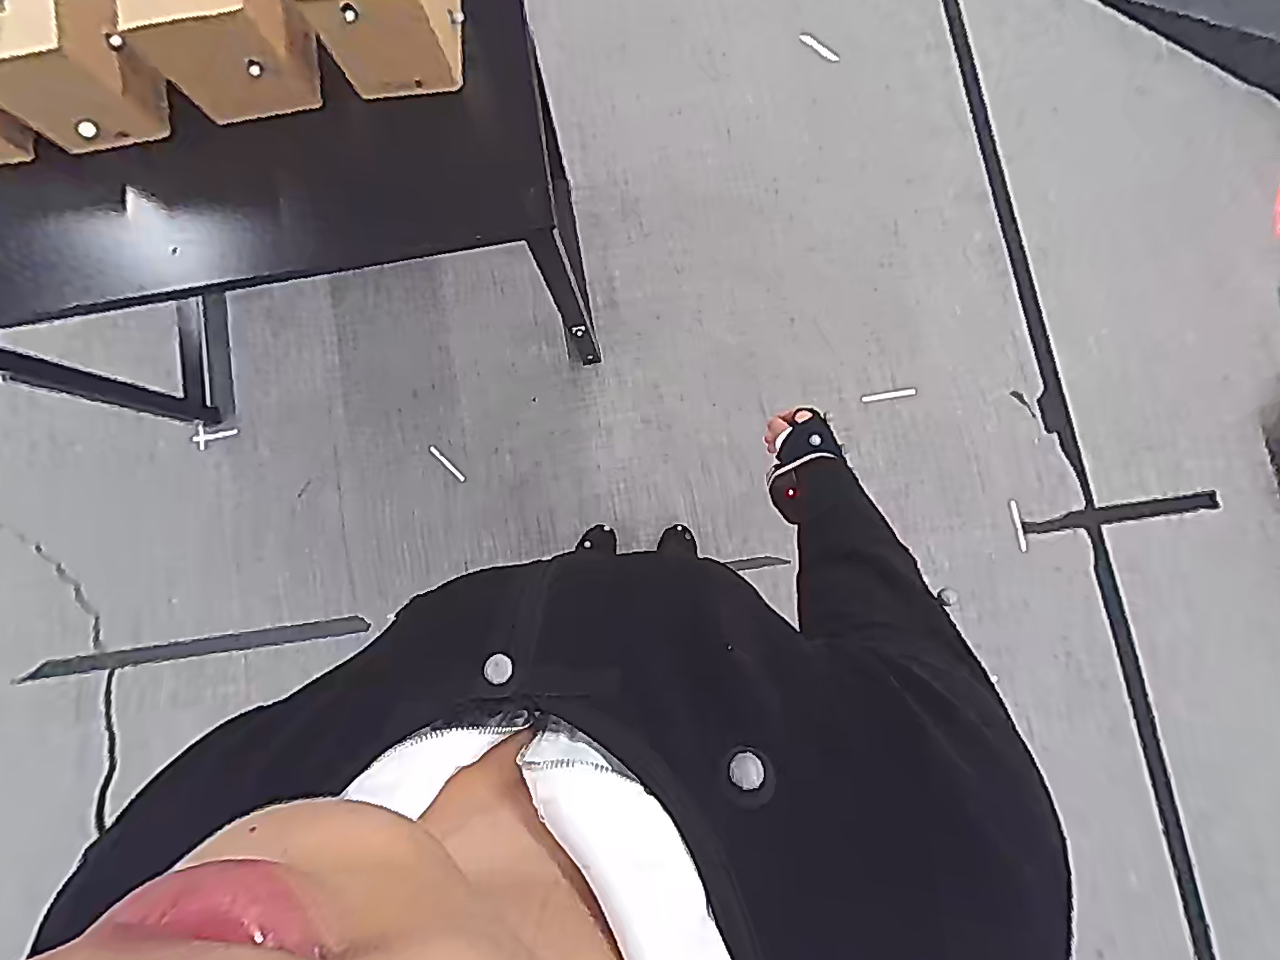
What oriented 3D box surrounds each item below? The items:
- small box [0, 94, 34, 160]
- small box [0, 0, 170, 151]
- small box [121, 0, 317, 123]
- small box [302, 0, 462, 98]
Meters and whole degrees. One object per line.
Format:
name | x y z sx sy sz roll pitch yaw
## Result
small box | -1.080 -0.610 0.815 0.168 0.176 0.179 -6 84 1
small box | -0.858 -0.640 0.810 0.168 0.176 0.179 -9 84 1
small box | -0.612 -0.678 0.807 0.179 0.176 0.168 -9 82 2
small box | -0.374 -0.713 0.799 0.168 0.176 0.179 -4 83 3
